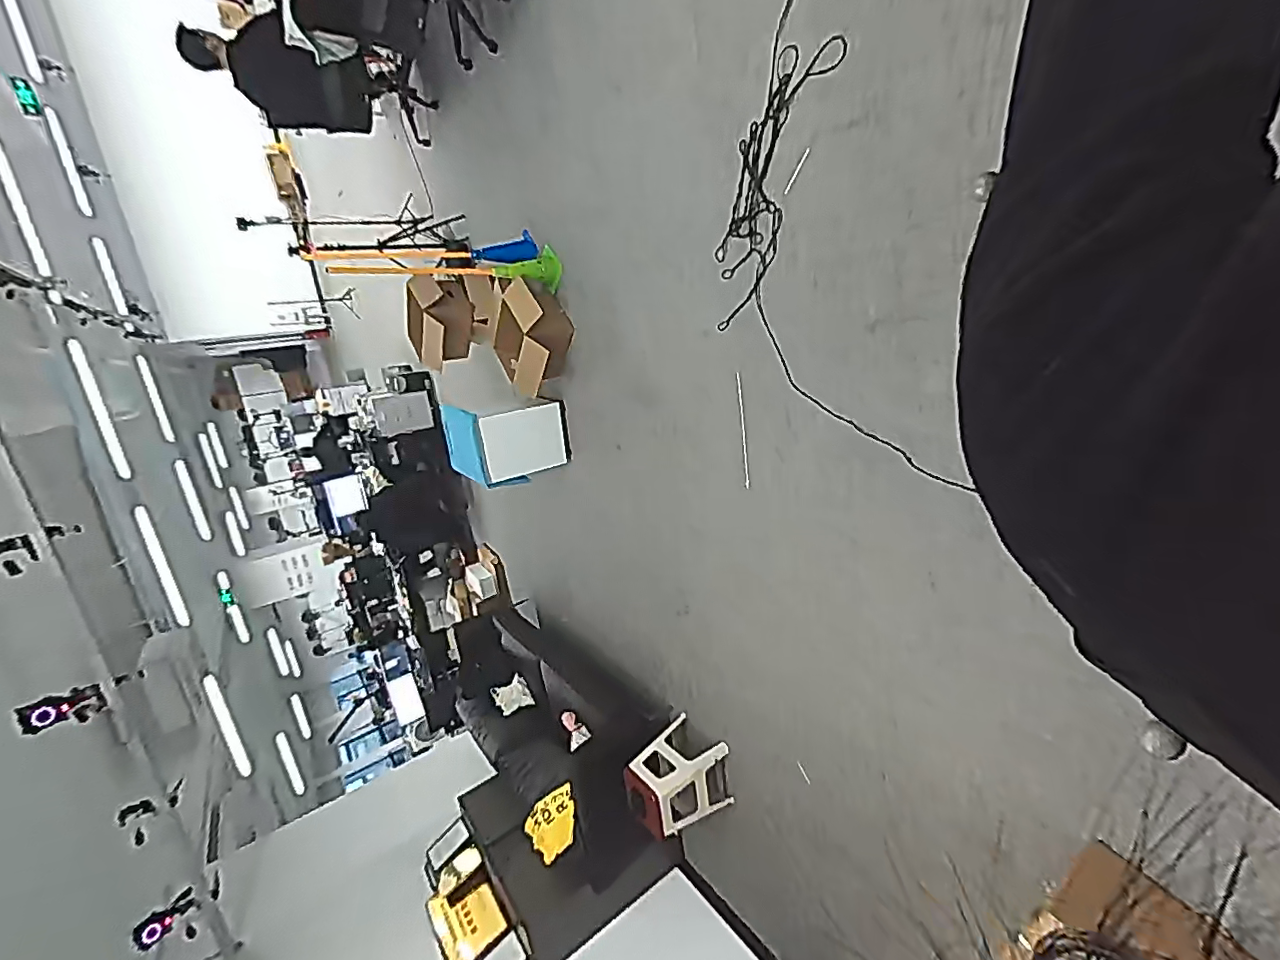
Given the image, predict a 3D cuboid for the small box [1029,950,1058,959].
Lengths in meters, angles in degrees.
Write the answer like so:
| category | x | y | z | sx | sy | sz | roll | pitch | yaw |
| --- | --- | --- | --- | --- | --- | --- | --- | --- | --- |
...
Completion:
| category | x | y | z | sx | sy | sz | roll | pitch | yaw |
| --- | --- | --- | --- | --- | --- | --- | --- | --- | --- |
| small box | 0.981 | 1.293 | 1.292 | 0.168 | 0.176 | 0.179 | 38 | 135 | 42 |
